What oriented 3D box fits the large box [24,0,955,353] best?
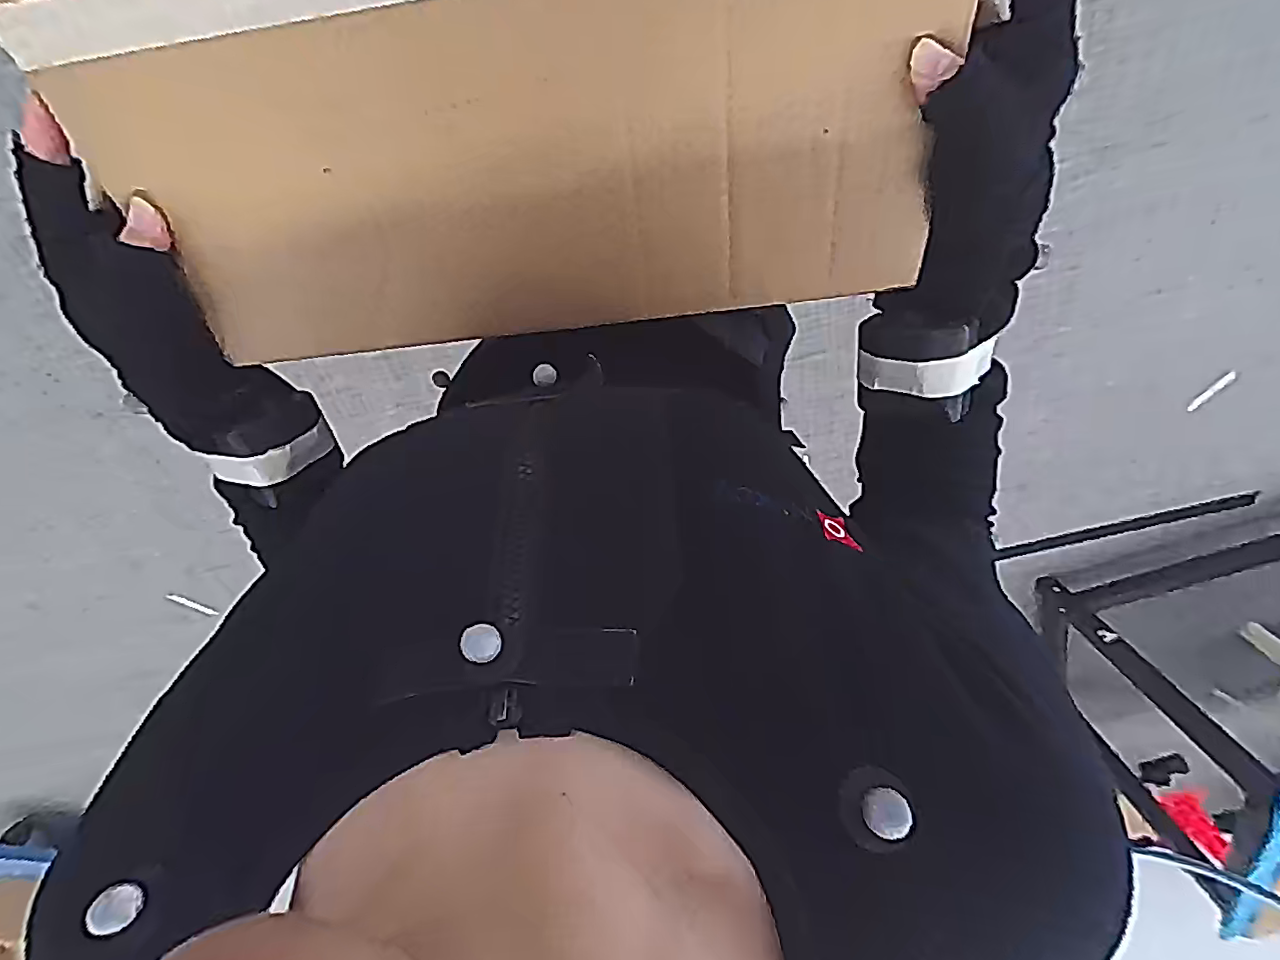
[{"bbox_3d":[-0.067,-0.310,0.336,0.408,0.320,0.320,-5,131,5],"label":"large box"}]
